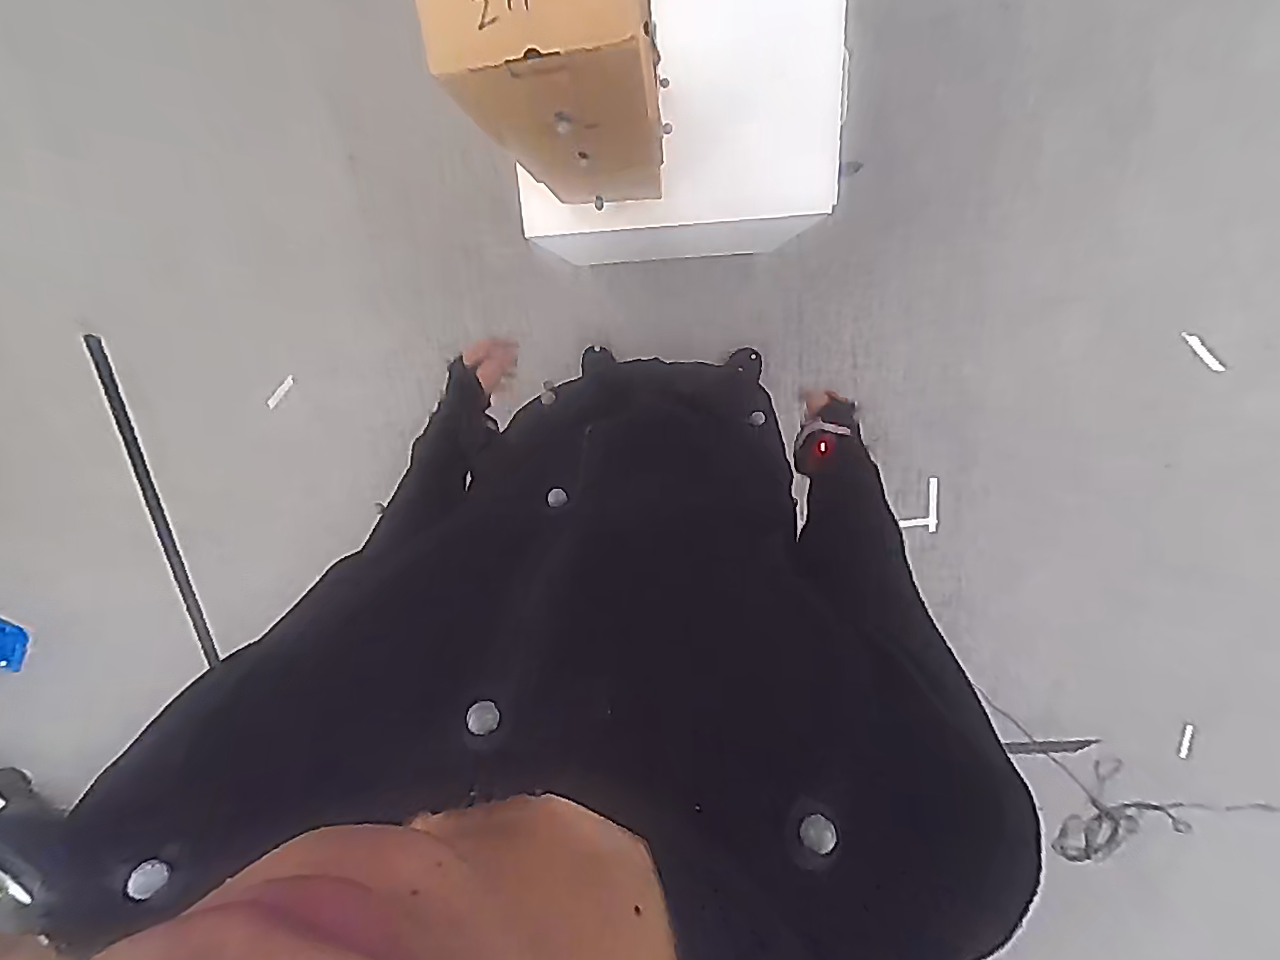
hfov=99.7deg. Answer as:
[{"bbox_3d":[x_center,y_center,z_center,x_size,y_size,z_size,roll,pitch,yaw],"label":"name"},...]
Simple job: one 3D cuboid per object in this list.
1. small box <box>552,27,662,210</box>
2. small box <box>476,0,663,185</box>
[{"bbox_3d":[-0.053,-0.508,0.782,0.168,0.176,0.179,-2,106,4],"label":"small box"},{"bbox_3d":[-0.067,-0.460,0.626,0.179,0.176,0.168,-6,105,6],"label":"small box"}]
